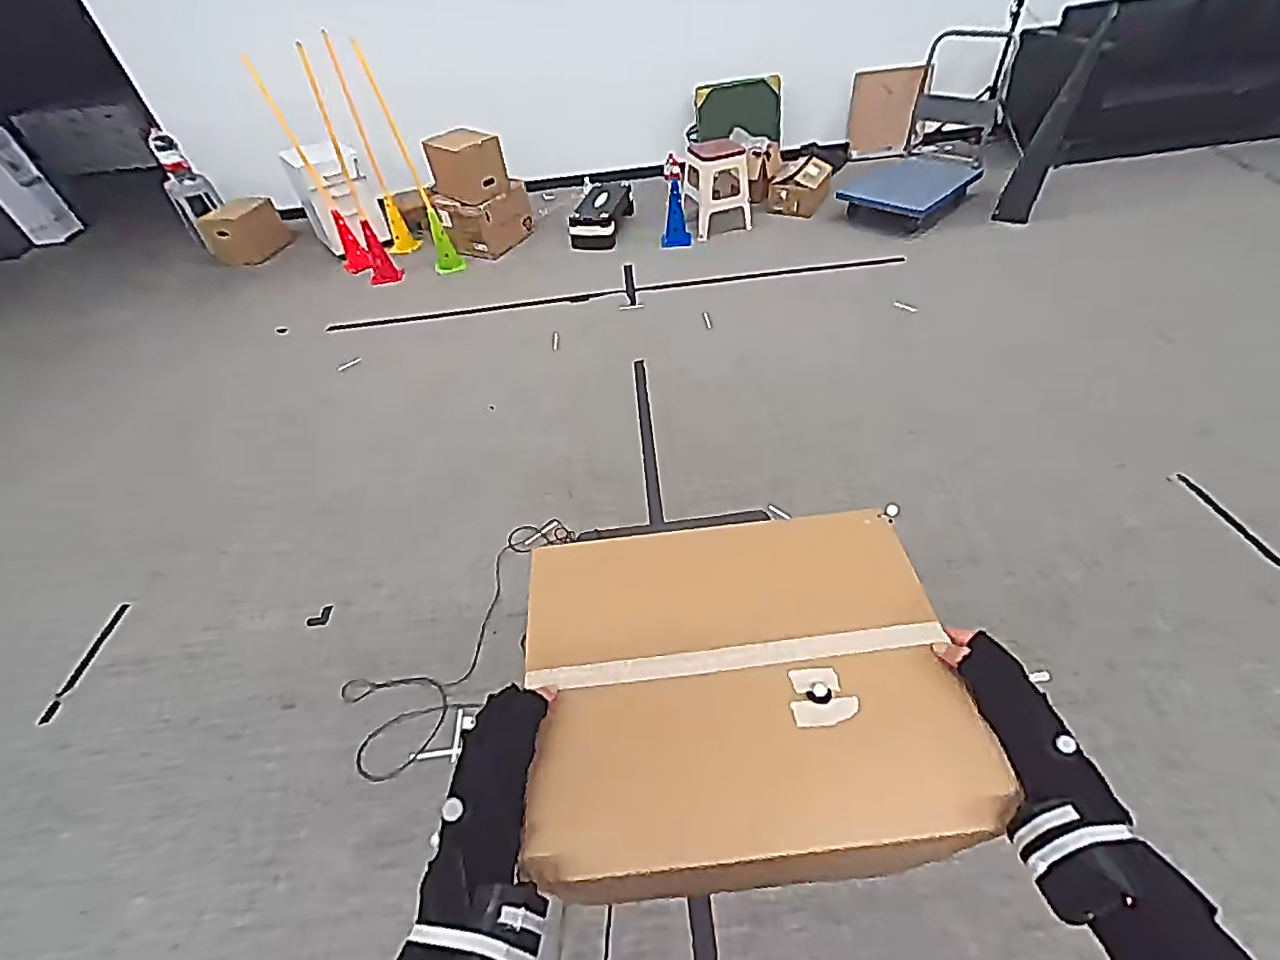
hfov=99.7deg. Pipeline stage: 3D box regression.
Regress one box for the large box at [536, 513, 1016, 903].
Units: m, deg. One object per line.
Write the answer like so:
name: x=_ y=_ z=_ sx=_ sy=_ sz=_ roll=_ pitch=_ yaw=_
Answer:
large box: x=0.106 y=0.275 z=0.644 sx=0.408 sy=0.320 sz=0.320 roll=-7 pitch=49 yaw=0
